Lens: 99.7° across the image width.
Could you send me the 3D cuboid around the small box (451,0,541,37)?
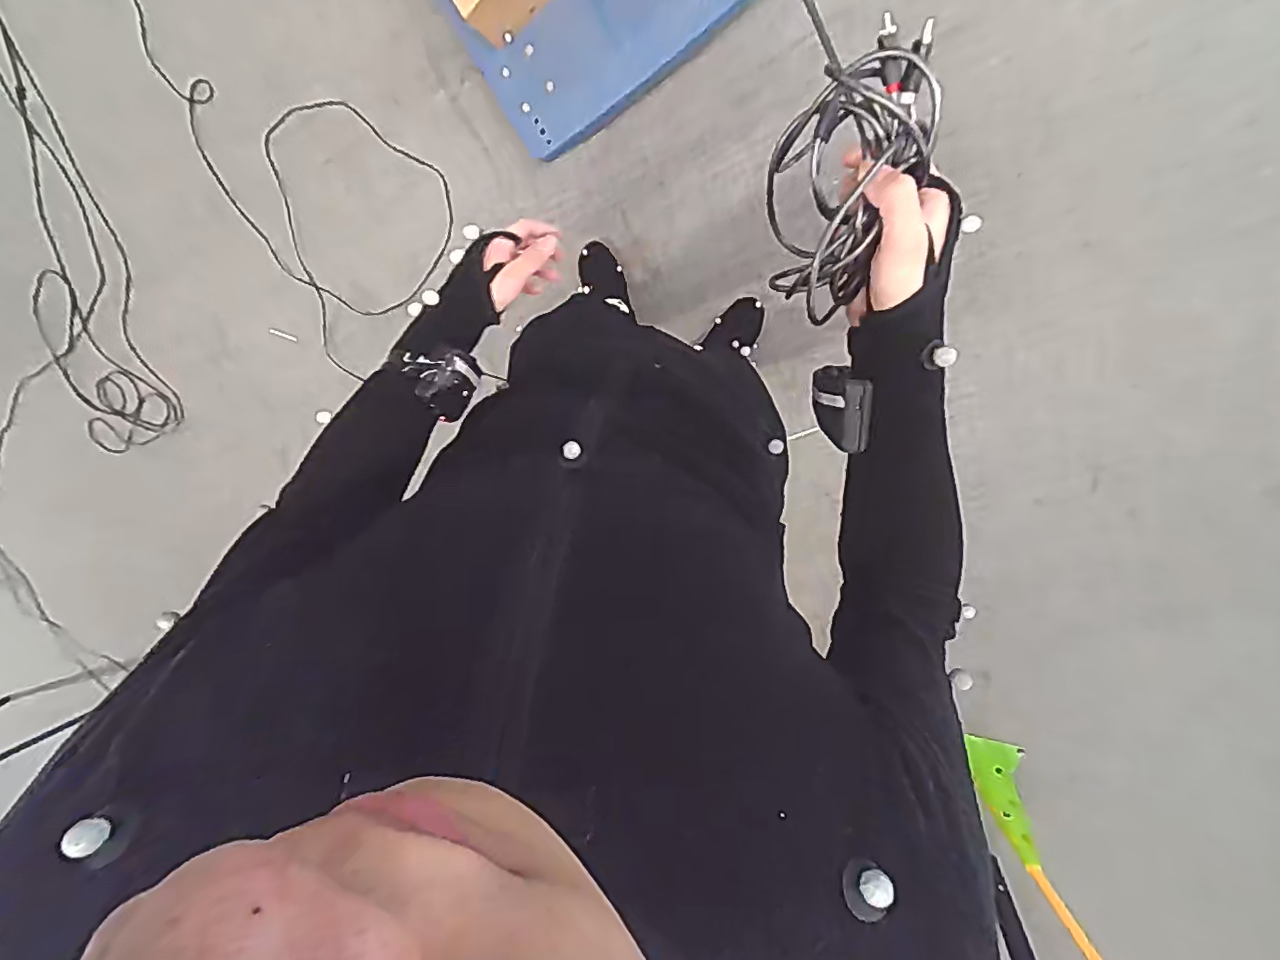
[{"bbox_3d":[-0.299,-1.005,1.038,0.168,0.176,0.179,-29,103,20],"label":"small box"}]
